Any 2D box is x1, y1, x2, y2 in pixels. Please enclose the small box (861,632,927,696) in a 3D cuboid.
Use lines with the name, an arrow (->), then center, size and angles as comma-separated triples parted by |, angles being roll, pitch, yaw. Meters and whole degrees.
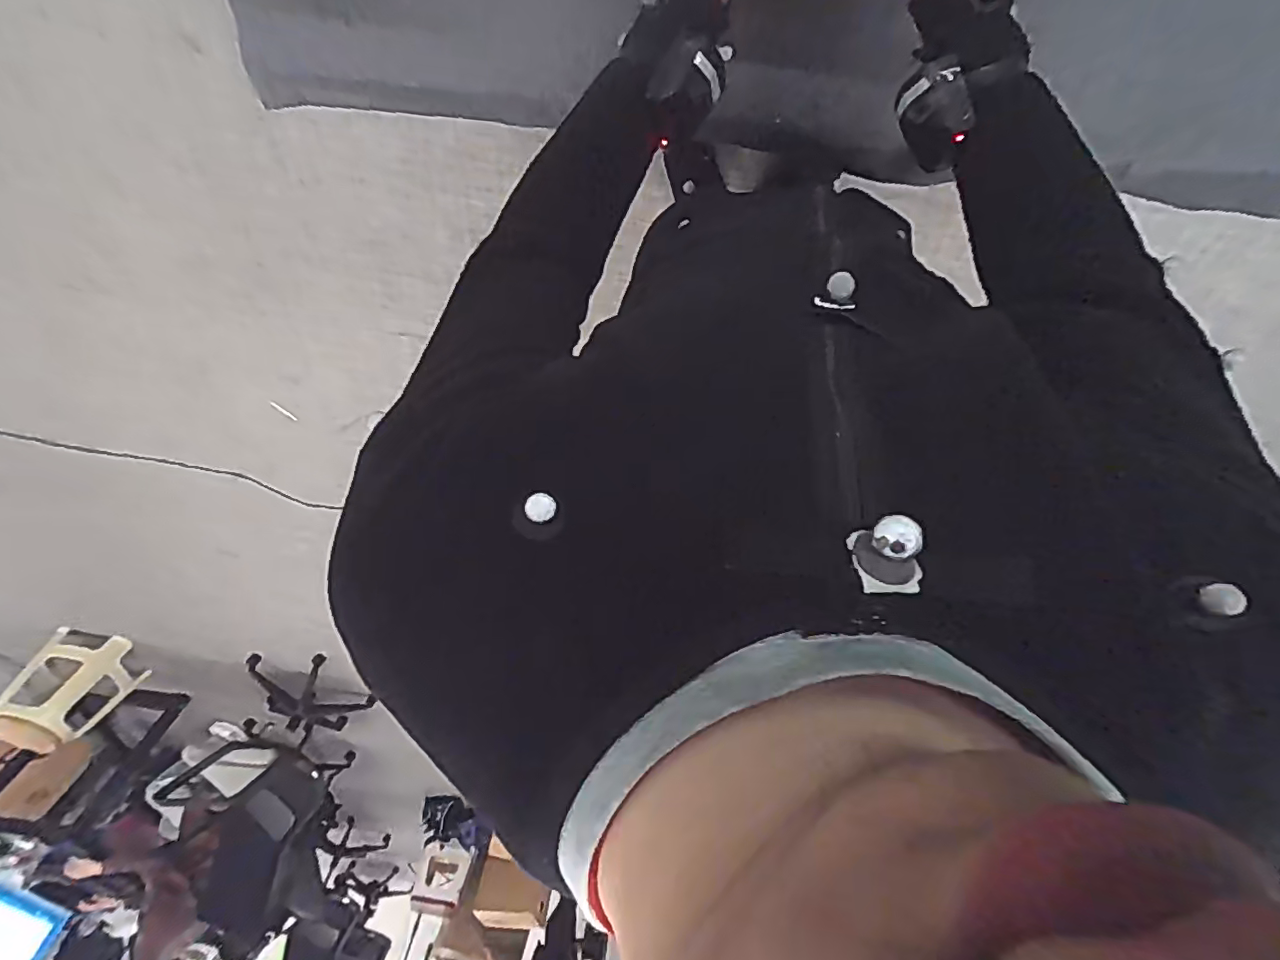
small box -> 1.000, 0.727, 2.145 | 0.168, 0.176, 0.179 | 6, 127, 2
